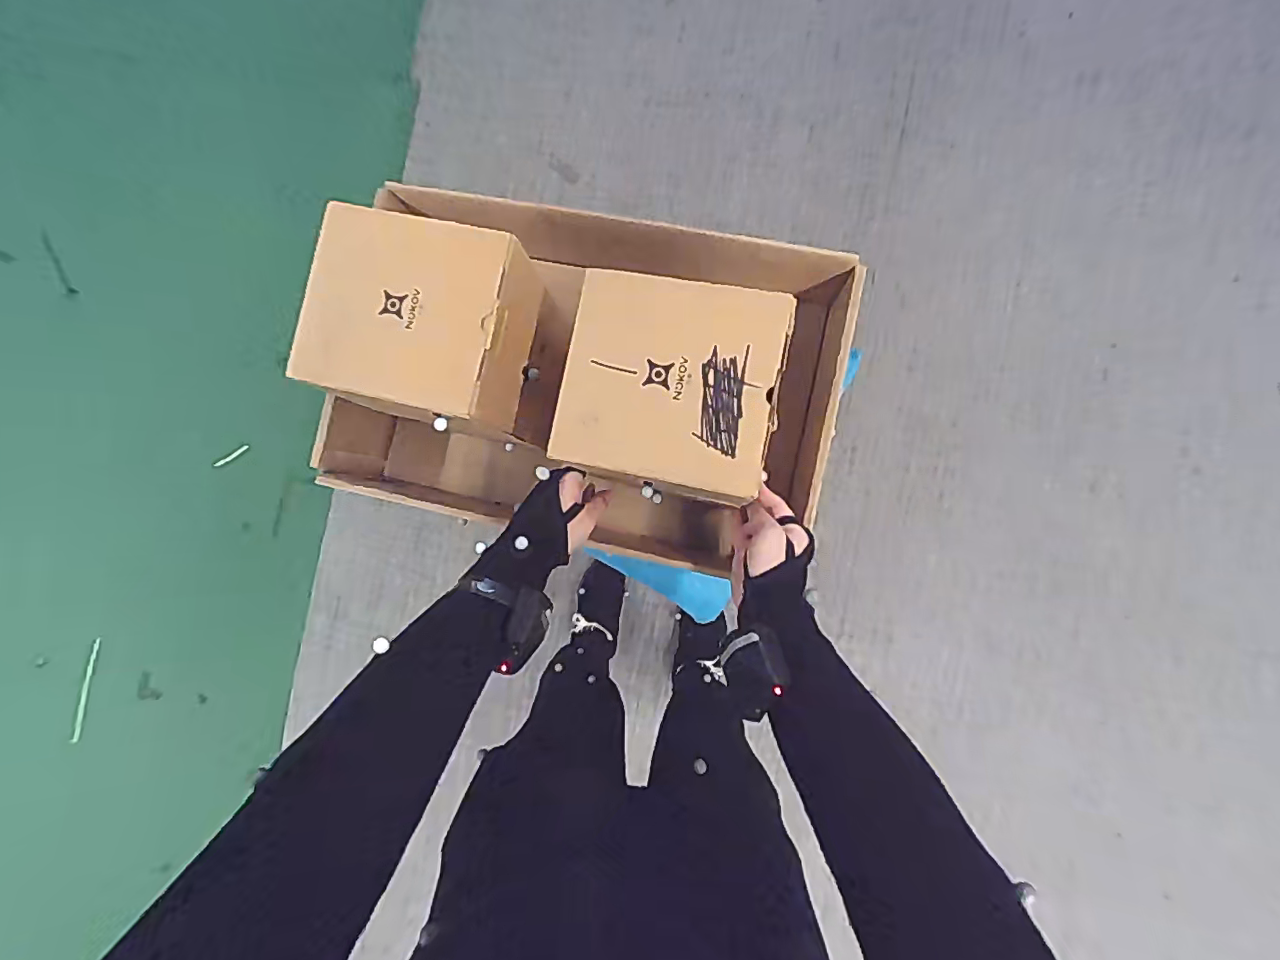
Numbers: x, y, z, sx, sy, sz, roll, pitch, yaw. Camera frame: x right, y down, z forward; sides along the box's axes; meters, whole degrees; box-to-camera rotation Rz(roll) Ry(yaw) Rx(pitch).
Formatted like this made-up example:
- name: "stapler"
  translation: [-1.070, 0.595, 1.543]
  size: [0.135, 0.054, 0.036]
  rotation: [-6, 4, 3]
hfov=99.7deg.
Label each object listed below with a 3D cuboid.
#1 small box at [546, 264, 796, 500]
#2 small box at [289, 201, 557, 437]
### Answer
- name: "small box"
  translation: [0.035, -0.077, 0.511]
  size: [0.179, 0.176, 0.168]
  rotation: [11, 87, 10]
- name: "small box"
  translation: [-0.202, -0.148, 0.551]
  size: [0.179, 0.176, 0.168]
  rotation: [12, 87, 5]
